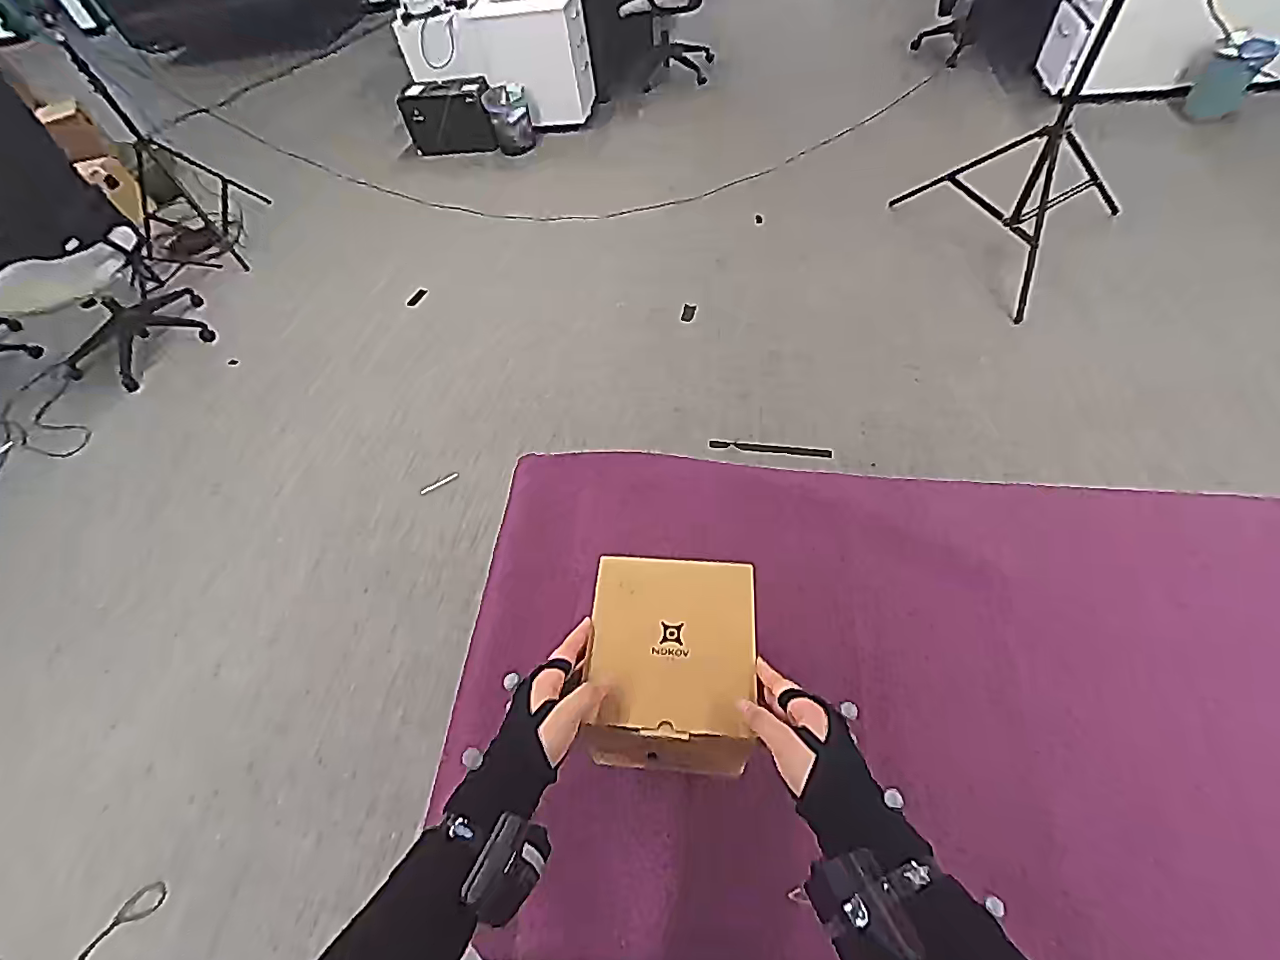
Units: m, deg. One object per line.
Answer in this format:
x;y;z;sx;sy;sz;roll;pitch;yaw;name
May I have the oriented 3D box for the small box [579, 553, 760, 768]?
0.035;0.200;0.594;0.168;0.176;0.179;2;54;5;small box
